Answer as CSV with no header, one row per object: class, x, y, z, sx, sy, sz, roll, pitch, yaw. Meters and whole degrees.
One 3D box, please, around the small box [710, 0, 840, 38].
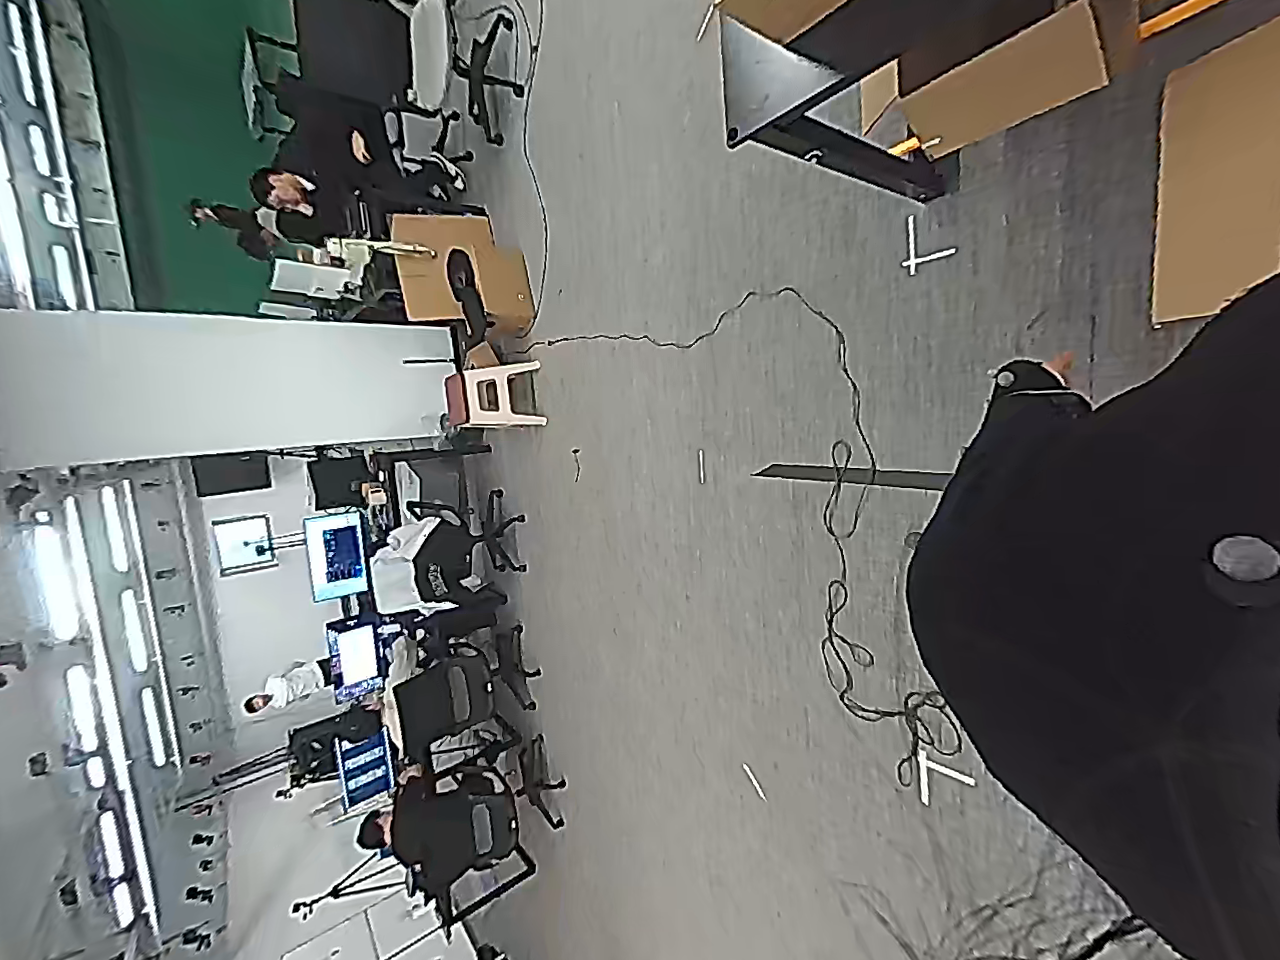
small box,0.212,-0.774,0.755,0.179,0.176,0.168,5,103,52
